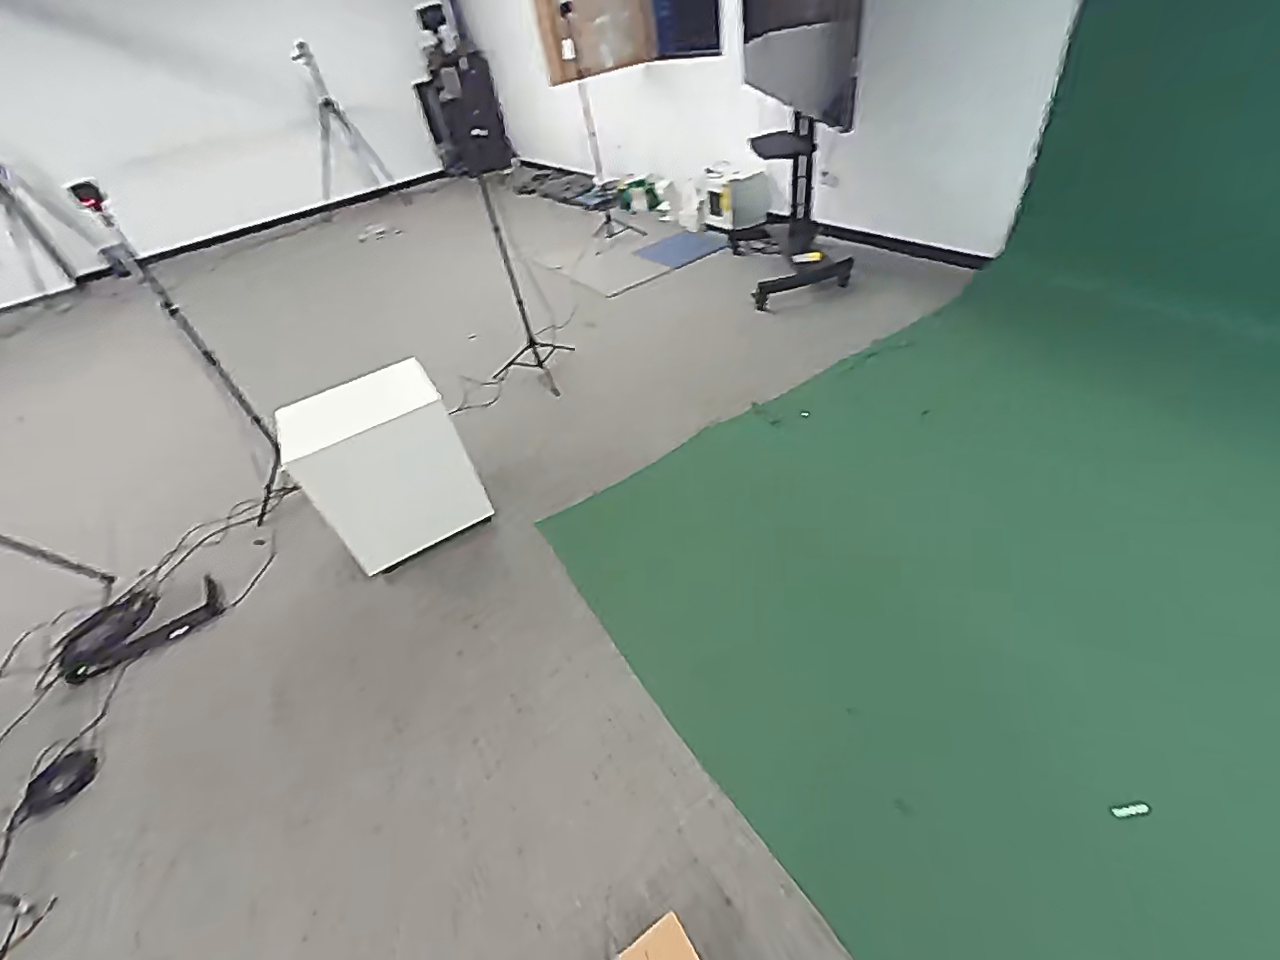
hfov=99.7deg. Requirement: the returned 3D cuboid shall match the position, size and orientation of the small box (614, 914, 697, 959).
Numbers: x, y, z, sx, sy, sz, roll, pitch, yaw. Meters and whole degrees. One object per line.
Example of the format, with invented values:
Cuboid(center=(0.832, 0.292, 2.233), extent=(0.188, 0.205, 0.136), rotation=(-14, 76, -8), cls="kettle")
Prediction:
Cuboid(center=(0.049, 0.988, 1.032), extent=(0.168, 0.176, 0.179), rotation=(-28, 43, -19), cls="small box")
